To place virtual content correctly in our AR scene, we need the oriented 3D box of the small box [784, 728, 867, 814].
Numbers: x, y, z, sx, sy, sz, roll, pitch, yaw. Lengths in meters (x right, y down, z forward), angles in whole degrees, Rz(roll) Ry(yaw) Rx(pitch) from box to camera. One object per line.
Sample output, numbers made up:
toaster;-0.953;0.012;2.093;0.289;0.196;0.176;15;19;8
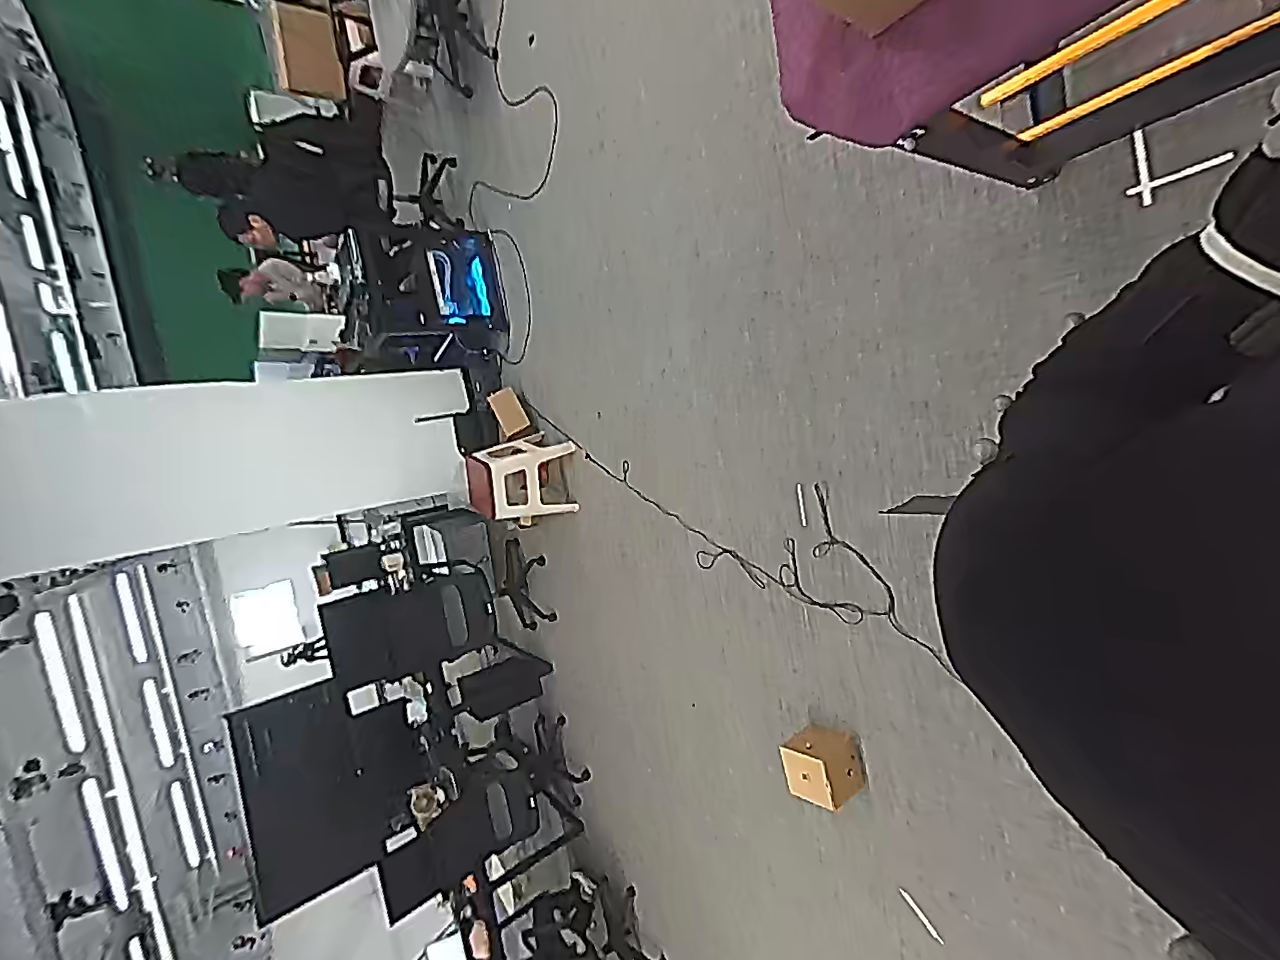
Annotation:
small box;0.605;0.939;1.766;0.179;0.176;0.168;-14;90;54
